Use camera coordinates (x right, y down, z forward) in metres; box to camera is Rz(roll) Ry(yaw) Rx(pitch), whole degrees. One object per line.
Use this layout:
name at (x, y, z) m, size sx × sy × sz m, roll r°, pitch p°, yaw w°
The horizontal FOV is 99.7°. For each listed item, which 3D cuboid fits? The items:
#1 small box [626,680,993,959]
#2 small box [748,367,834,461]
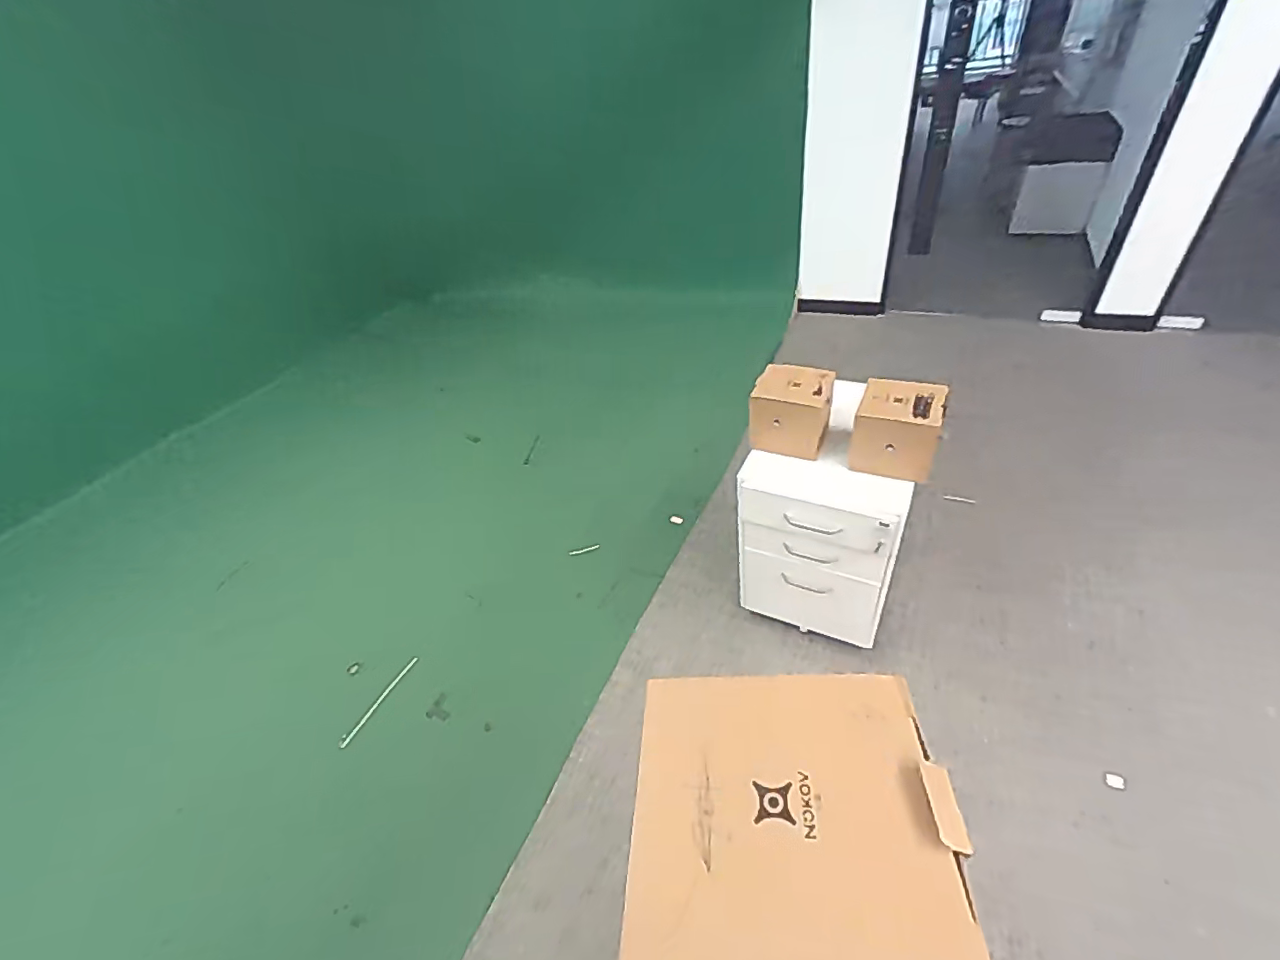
small box at (0.101, 0.255, 0.361) m, size 0.179 × 0.176 × 0.168 m, roll -6°, pitch 36°, yaw 12°
small box at (0.386, -0.170, 1.396) m, size 0.179 × 0.176 × 0.168 m, roll 14°, pitch 47°, yaw 24°
